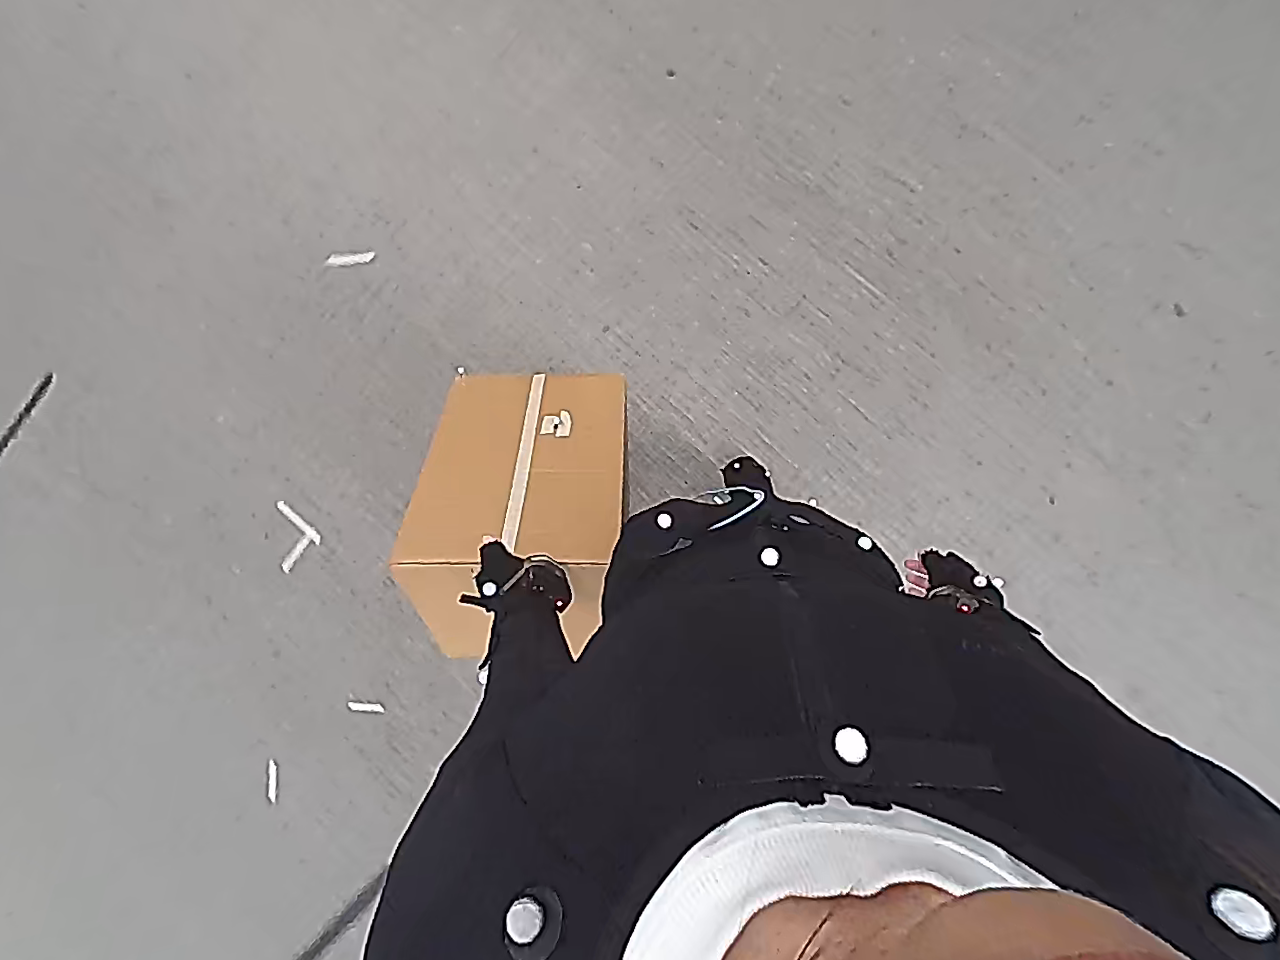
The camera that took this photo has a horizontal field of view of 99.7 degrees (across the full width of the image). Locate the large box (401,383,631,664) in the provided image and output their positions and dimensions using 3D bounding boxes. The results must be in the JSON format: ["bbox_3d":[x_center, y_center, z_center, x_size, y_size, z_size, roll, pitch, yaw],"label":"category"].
[{"bbox_3d":[-0.178,0.074,0.972,0.320,0.320,0.408,-1,48,-1],"label":"large box"}]
